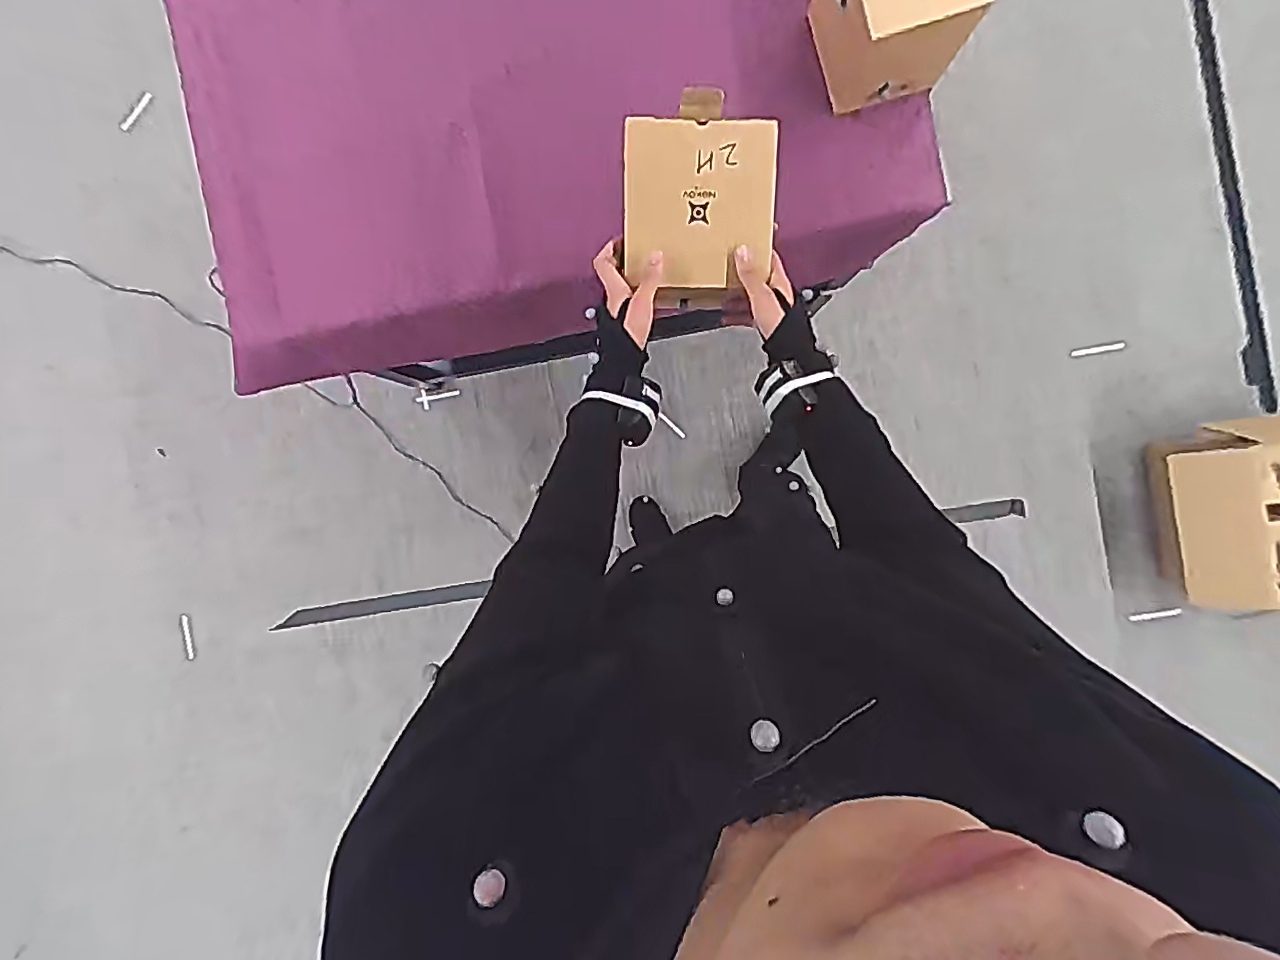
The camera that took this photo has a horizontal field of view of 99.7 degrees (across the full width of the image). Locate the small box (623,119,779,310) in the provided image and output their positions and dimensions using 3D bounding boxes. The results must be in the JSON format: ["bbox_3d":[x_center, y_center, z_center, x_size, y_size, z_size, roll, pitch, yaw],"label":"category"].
[{"bbox_3d":[0.064,-0.309,0.665,0.168,0.176,0.179,0,100,-2],"label":"small box"}]

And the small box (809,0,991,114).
[{"bbox_3d":[0.361,-0.685,0.784,0.168,0.176,0.179,-15,91,4],"label":"small box"}]
